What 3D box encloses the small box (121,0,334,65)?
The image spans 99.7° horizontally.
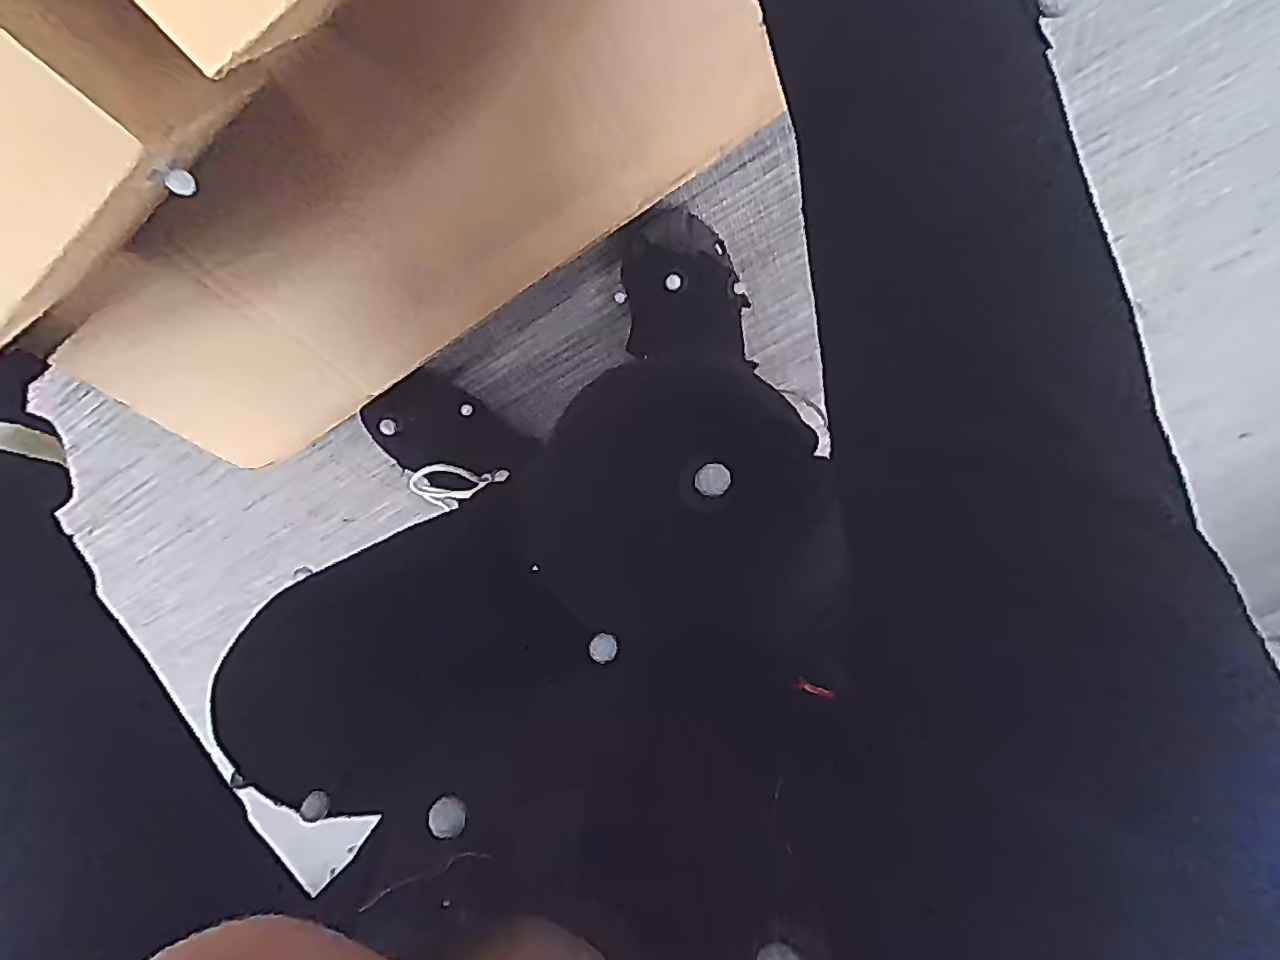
[{"bbox_3d":[-0.144,-0.292,0.185,0.179,0.176,0.168,-27,136,13],"label":"small box"}]
